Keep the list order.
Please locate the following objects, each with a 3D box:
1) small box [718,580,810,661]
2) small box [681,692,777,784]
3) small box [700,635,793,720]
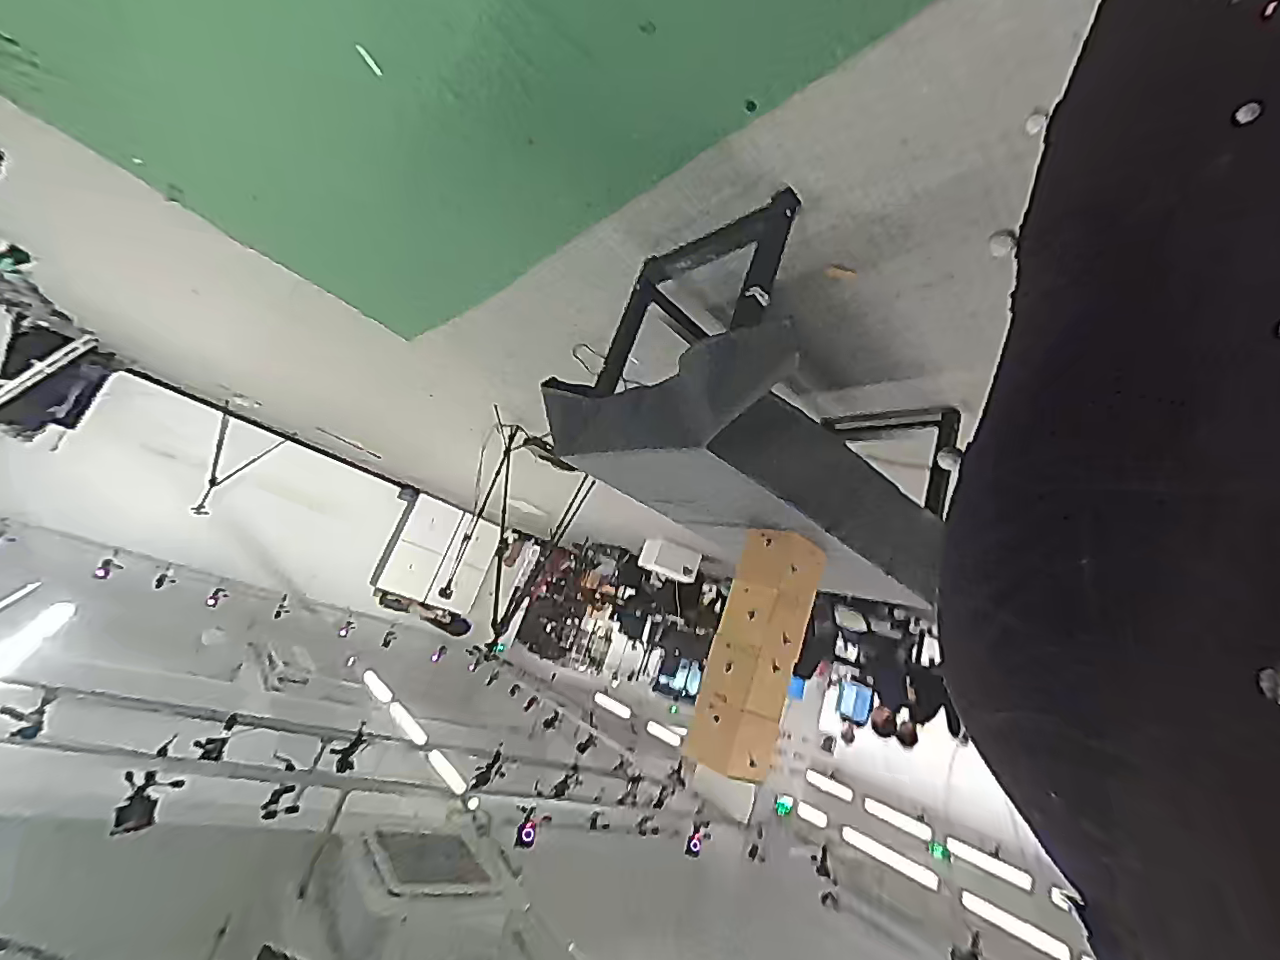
[{"bbox_3d":[0.357,0.397,1.549,0.179,0.176,0.168,31,162,-33],"label":"small box"},{"bbox_3d":[0.247,0.697,1.473,0.179,0.176,0.168,31,161,-34],"label":"small box"},{"bbox_3d":[0.300,0.546,1.511,0.179,0.176,0.168,32,161,-35],"label":"small box"}]
